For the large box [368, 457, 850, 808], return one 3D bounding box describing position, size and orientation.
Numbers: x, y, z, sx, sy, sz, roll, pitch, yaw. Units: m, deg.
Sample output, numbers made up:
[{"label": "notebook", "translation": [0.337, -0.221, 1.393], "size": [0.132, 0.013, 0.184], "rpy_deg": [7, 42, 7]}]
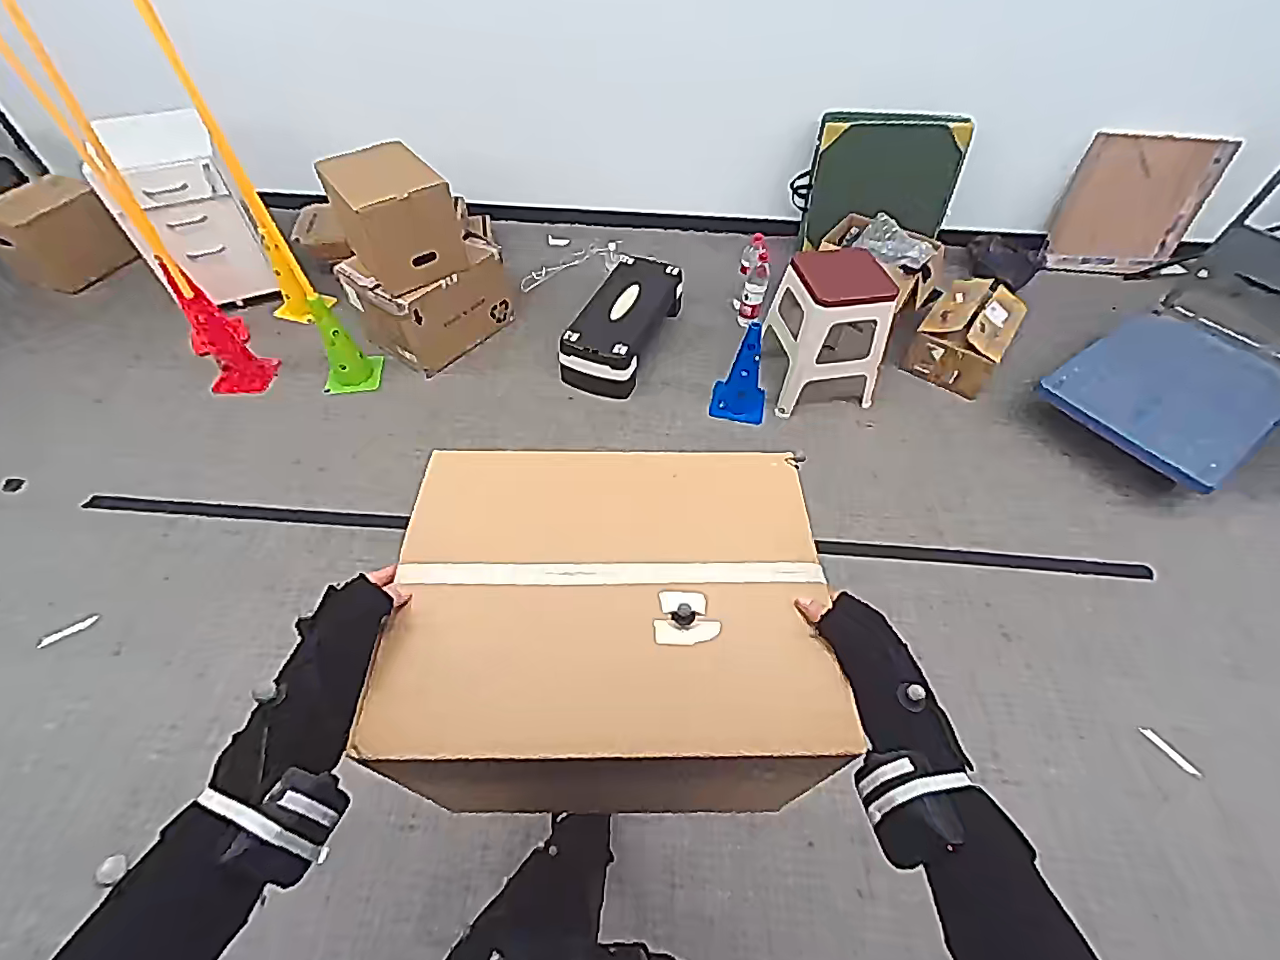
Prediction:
[{"label": "large box", "translation": [-0.030, 0.186, 0.646], "size": [0.408, 0.320, 0.320], "rpy_deg": [1, 52, -1]}]
